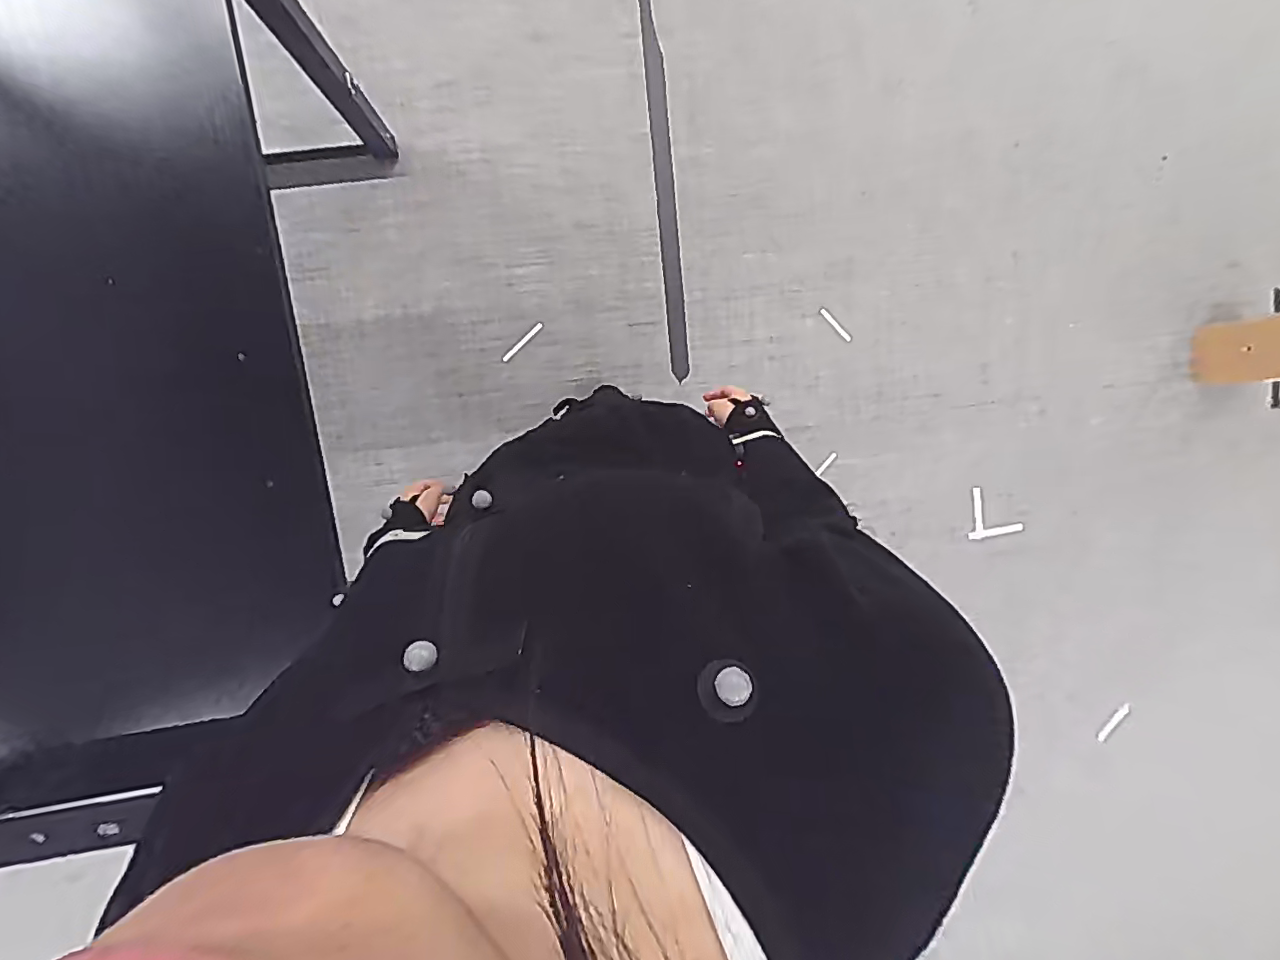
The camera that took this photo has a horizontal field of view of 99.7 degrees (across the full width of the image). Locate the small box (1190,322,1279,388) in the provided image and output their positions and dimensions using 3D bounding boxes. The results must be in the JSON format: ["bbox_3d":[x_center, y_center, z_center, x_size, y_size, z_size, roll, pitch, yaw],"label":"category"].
[{"bbox_3d":[1.751,-0.363,1.564,0.168,0.176,0.179,-7,97,-5],"label":"small box"}]

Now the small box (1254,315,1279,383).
[{"bbox_3d":[1.764,-0.351,1.400,0.168,0.176,0.179,-5,97,-4],"label":"small box"}]
